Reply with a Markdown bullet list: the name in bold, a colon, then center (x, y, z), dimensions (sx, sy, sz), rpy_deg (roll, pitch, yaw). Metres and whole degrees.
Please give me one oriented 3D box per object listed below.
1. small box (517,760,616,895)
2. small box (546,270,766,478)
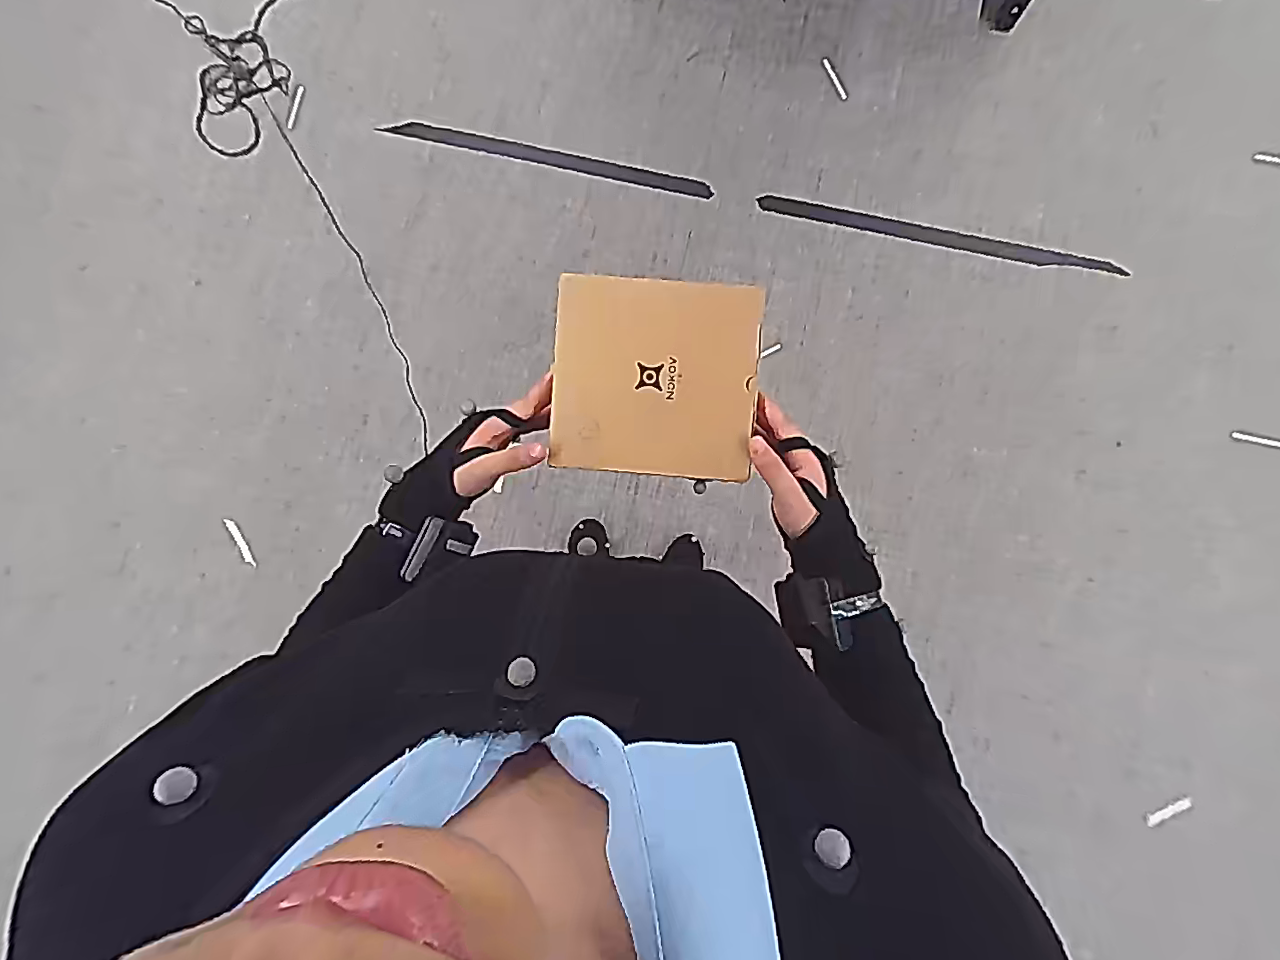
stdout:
- **small box**: center (-0.155, 0.766, 1.214), dimensions (0.168, 0.176, 0.179), rpy_deg (17, 87, 4)
- **small box**: center (0.015, -0.092, 0.533), dimensions (0.179, 0.176, 0.168), rpy_deg (4, 93, 1)
